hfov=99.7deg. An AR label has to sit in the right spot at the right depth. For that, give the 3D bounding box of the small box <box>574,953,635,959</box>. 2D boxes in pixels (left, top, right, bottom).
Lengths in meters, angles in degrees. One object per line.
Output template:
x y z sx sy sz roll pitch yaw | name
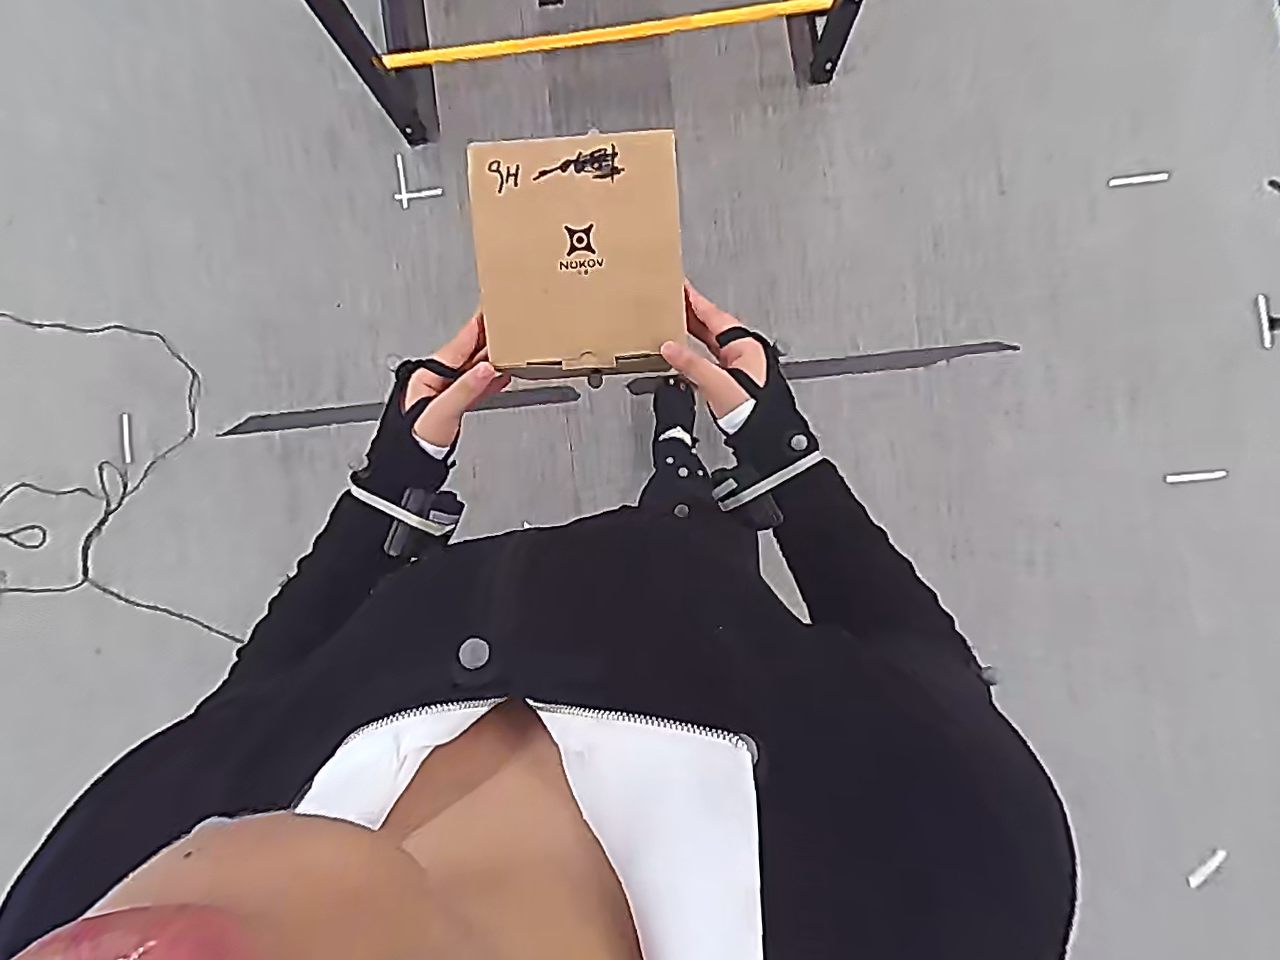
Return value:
-0.087 1.283 1.284 0.168 0.176 0.179 -2 89 2 | small box
